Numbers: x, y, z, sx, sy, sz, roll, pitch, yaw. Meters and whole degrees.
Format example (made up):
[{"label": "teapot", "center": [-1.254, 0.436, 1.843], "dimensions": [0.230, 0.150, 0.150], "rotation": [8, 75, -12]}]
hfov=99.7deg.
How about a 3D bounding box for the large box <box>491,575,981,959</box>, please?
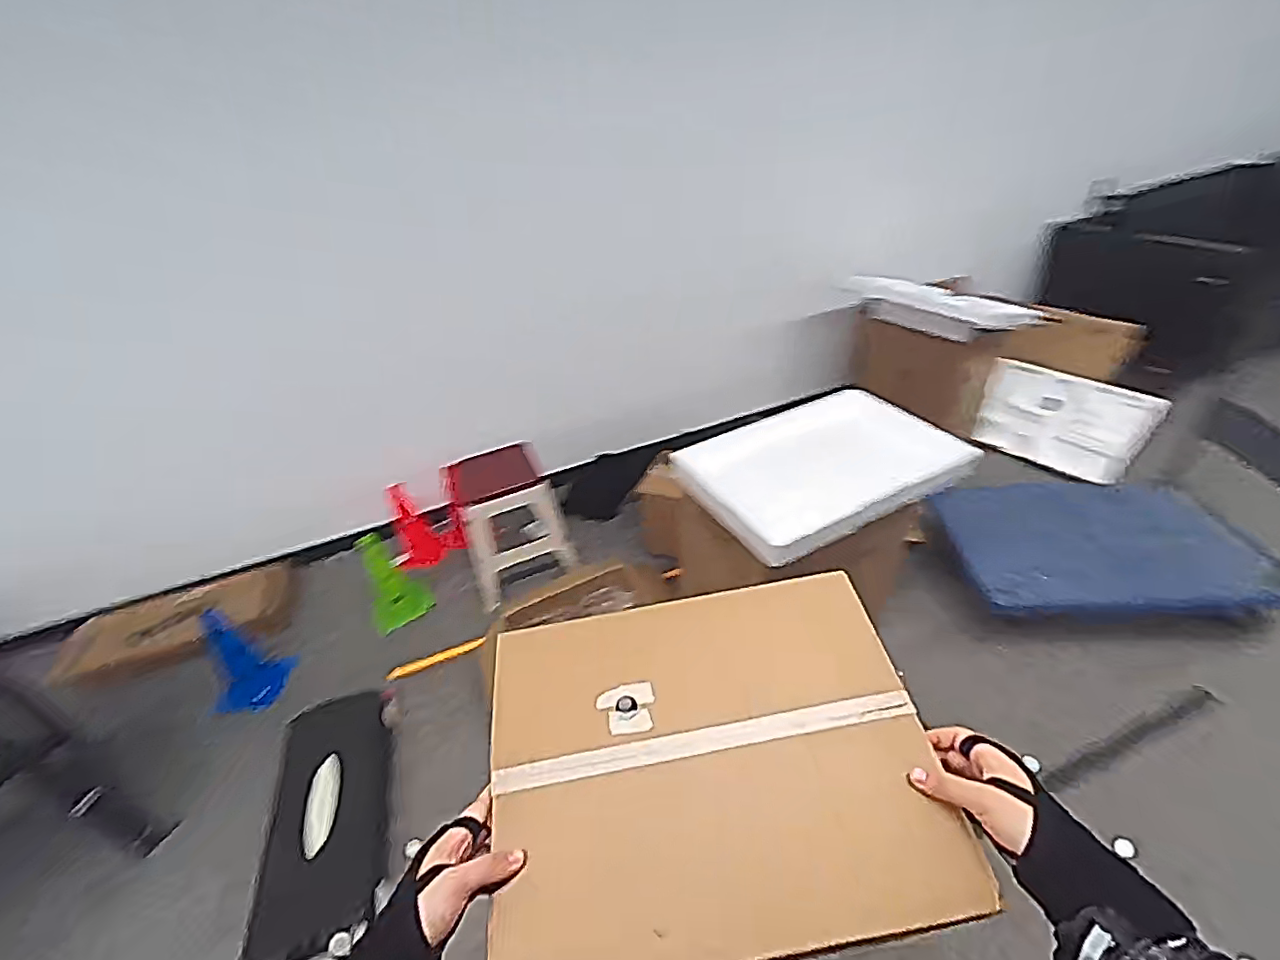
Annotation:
[{"label": "large box", "center": [0.073, 0.360, 0.628], "dimensions": [0.408, 0.320, 0.320], "rotation": [-12, 46, -2]}]
